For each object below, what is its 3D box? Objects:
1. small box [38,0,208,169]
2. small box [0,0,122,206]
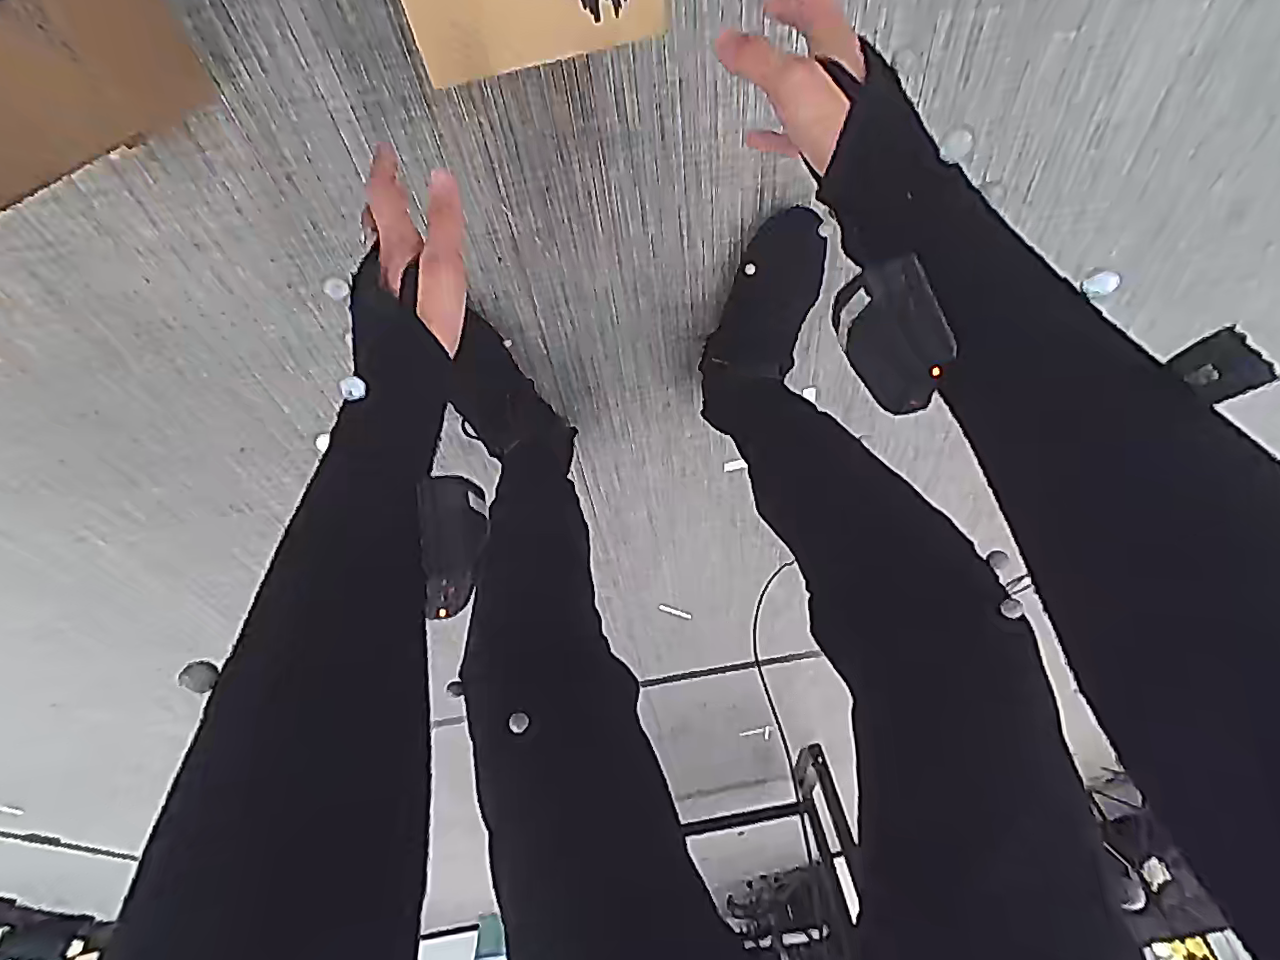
[{"bbox_3d":[-0.468,-0.327,0.378,0.168,0.176,0.179,-13,138,3],"label":"small box"},{"bbox_3d":[-0.433,-0.214,0.264,0.179,0.176,0.168,-14,137,3],"label":"small box"}]
